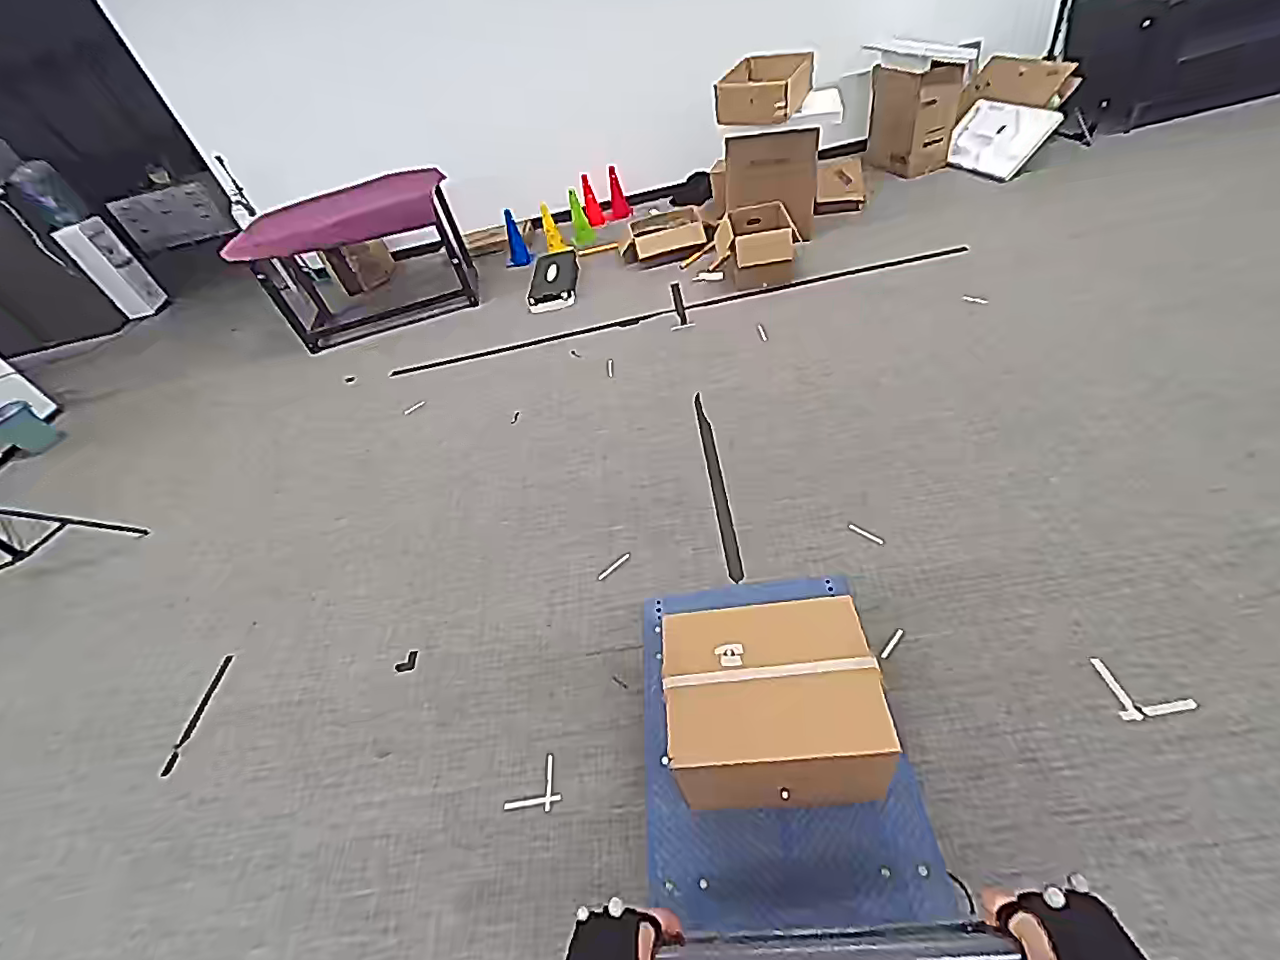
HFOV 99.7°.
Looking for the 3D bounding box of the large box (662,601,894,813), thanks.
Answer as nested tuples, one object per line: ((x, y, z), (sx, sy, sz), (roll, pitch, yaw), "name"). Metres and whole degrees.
((0.280, 0.499, 1.174), (0.408, 0.320, 0.320), (-9, 43, 8), "large box")
